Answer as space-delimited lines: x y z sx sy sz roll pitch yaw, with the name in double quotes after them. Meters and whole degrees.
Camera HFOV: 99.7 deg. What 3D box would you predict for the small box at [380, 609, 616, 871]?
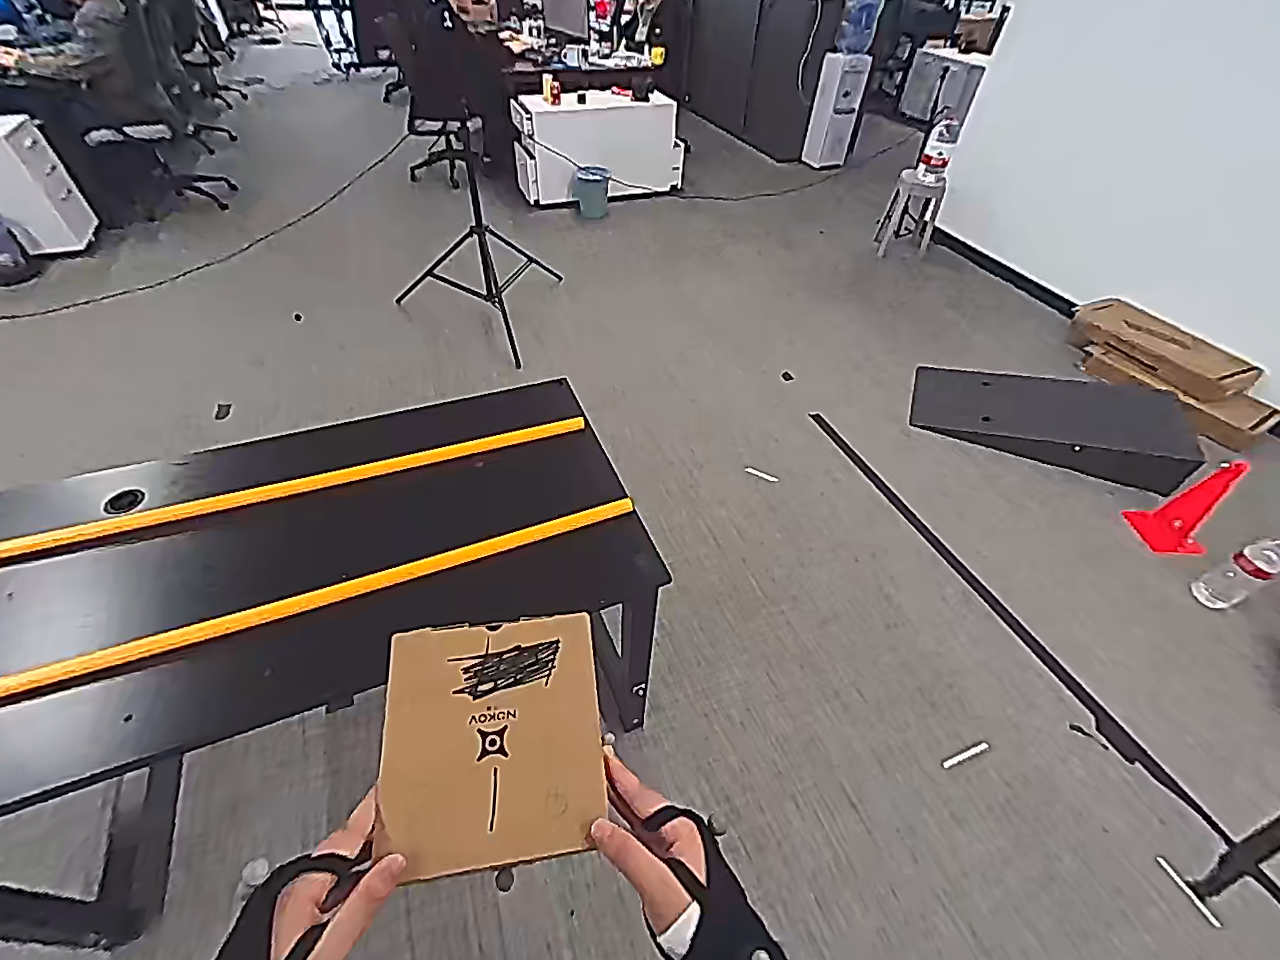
-0.117 0.238 0.492 0.168 0.176 0.179 -4 56 -9 "small box"
